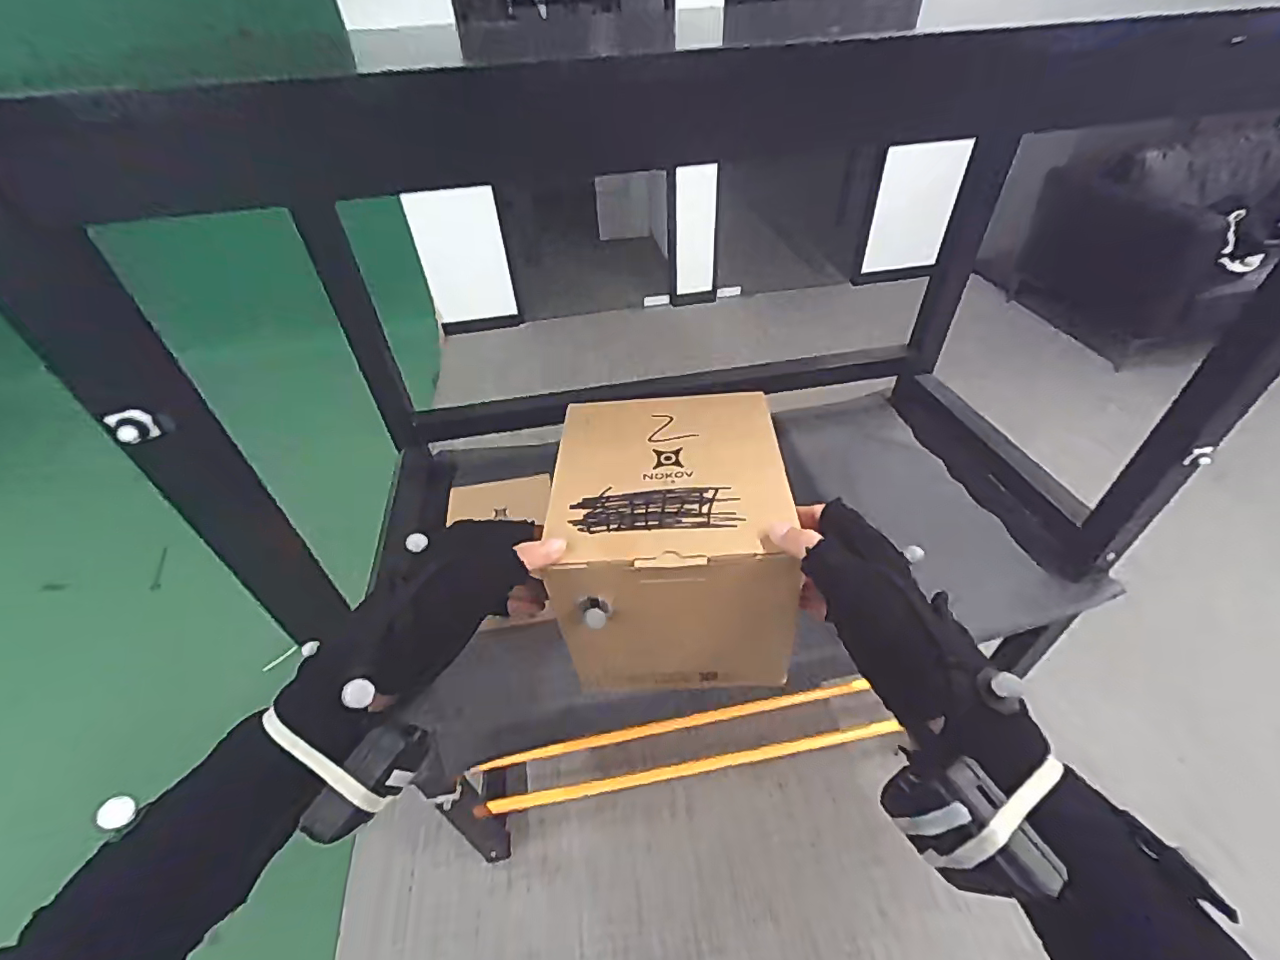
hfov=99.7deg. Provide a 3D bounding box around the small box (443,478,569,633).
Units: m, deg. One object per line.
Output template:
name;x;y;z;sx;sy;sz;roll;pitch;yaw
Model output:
small box;-0.213;0.123;0.894;0.168;0.176;0.179;-9;42;-6

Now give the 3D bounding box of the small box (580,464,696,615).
small box;-0.008;0.099;0.912;0.168;0.176;0.179;-9;42;-6
